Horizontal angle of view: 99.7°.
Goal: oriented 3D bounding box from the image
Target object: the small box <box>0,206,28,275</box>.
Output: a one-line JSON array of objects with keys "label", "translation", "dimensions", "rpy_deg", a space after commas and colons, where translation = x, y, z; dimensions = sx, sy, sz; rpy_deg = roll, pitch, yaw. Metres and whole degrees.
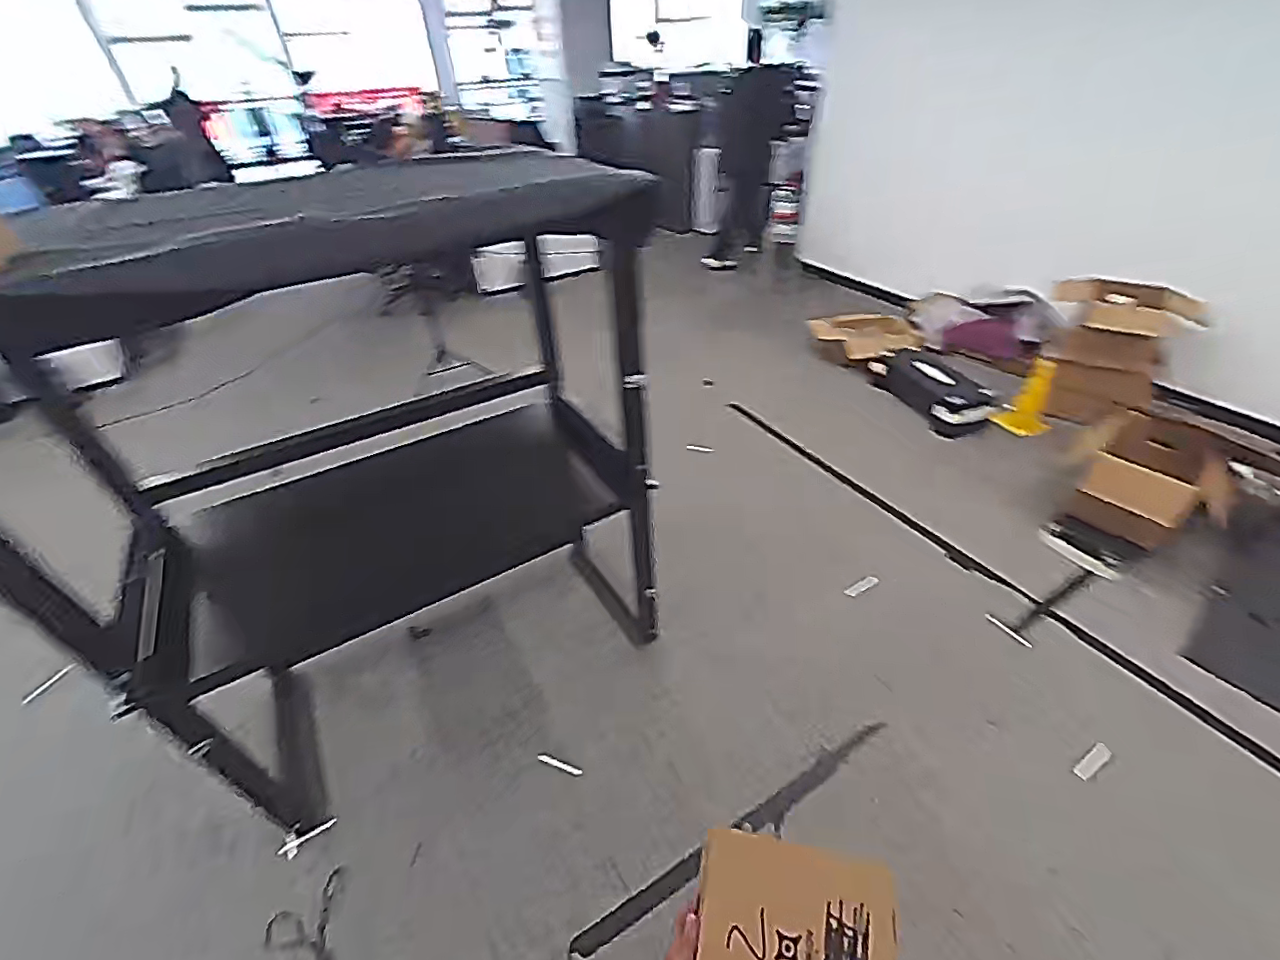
[{"label": "small box", "translation": [-0.930, -0.336, 0.667], "dimensions": [0.168, 0.176, 0.179], "rpy_deg": [-23, 43, -24]}]
